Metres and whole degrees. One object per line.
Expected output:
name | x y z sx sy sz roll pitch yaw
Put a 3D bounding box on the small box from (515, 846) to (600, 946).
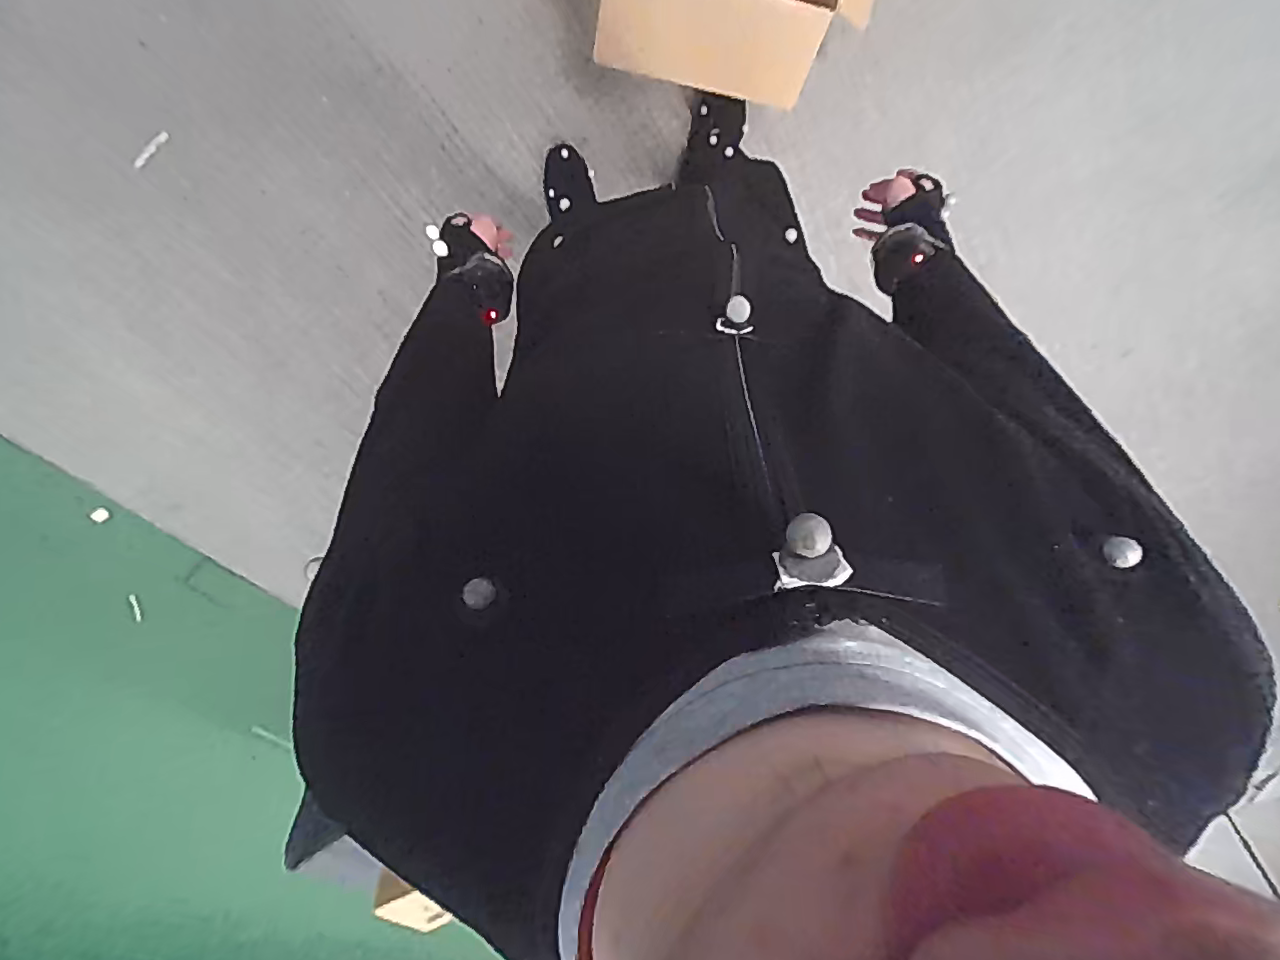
small box | -0.234 1.175 1.534 0.168 0.176 0.179 -33 122 13
